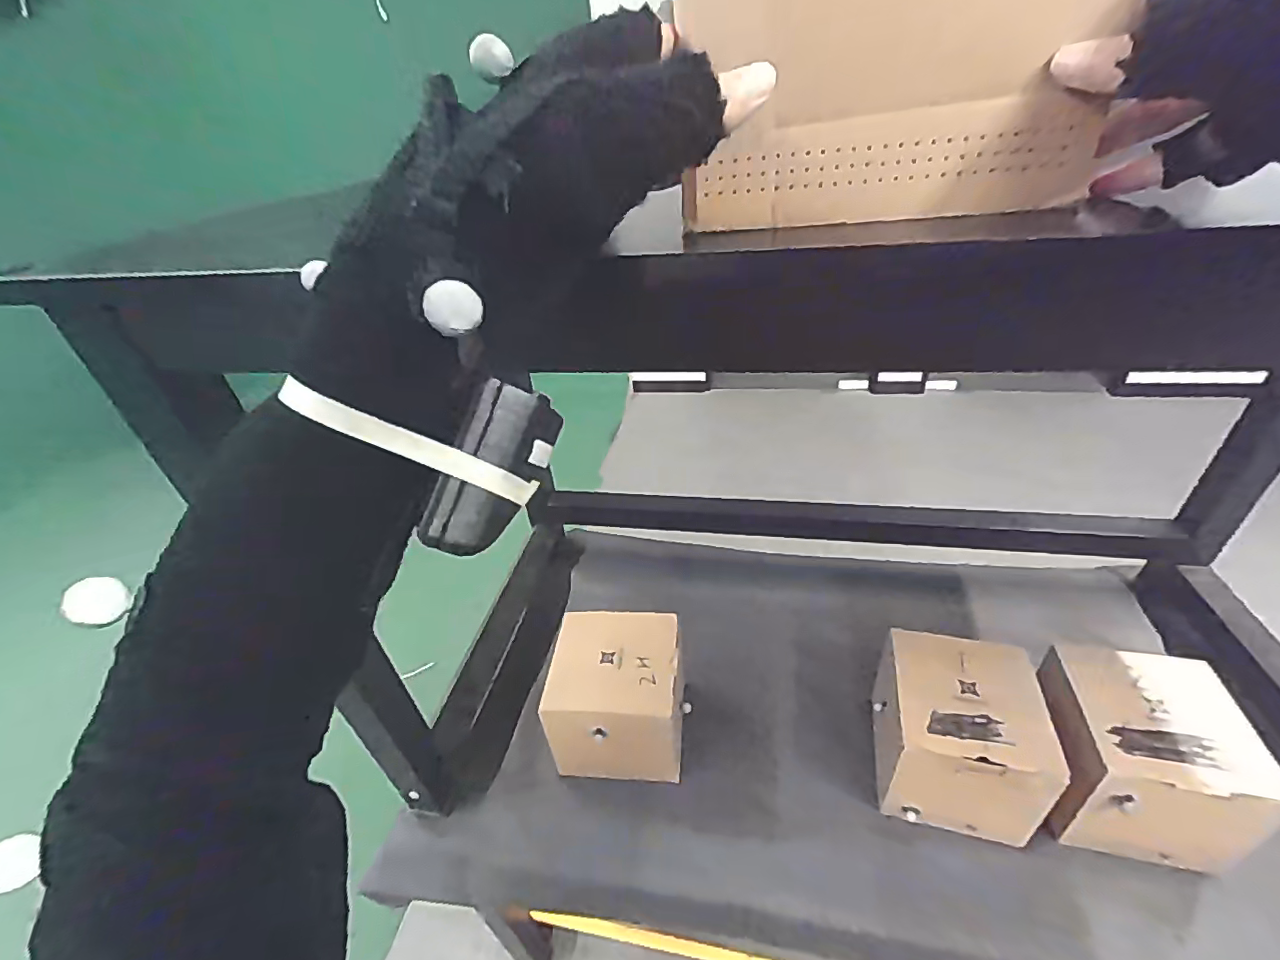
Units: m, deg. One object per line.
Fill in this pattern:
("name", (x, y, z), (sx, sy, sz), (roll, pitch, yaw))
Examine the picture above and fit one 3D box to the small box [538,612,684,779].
("small box", (-0.030, 0.315, 0.794), (0.179, 0.176, 0.168), (0, 36, 8))
